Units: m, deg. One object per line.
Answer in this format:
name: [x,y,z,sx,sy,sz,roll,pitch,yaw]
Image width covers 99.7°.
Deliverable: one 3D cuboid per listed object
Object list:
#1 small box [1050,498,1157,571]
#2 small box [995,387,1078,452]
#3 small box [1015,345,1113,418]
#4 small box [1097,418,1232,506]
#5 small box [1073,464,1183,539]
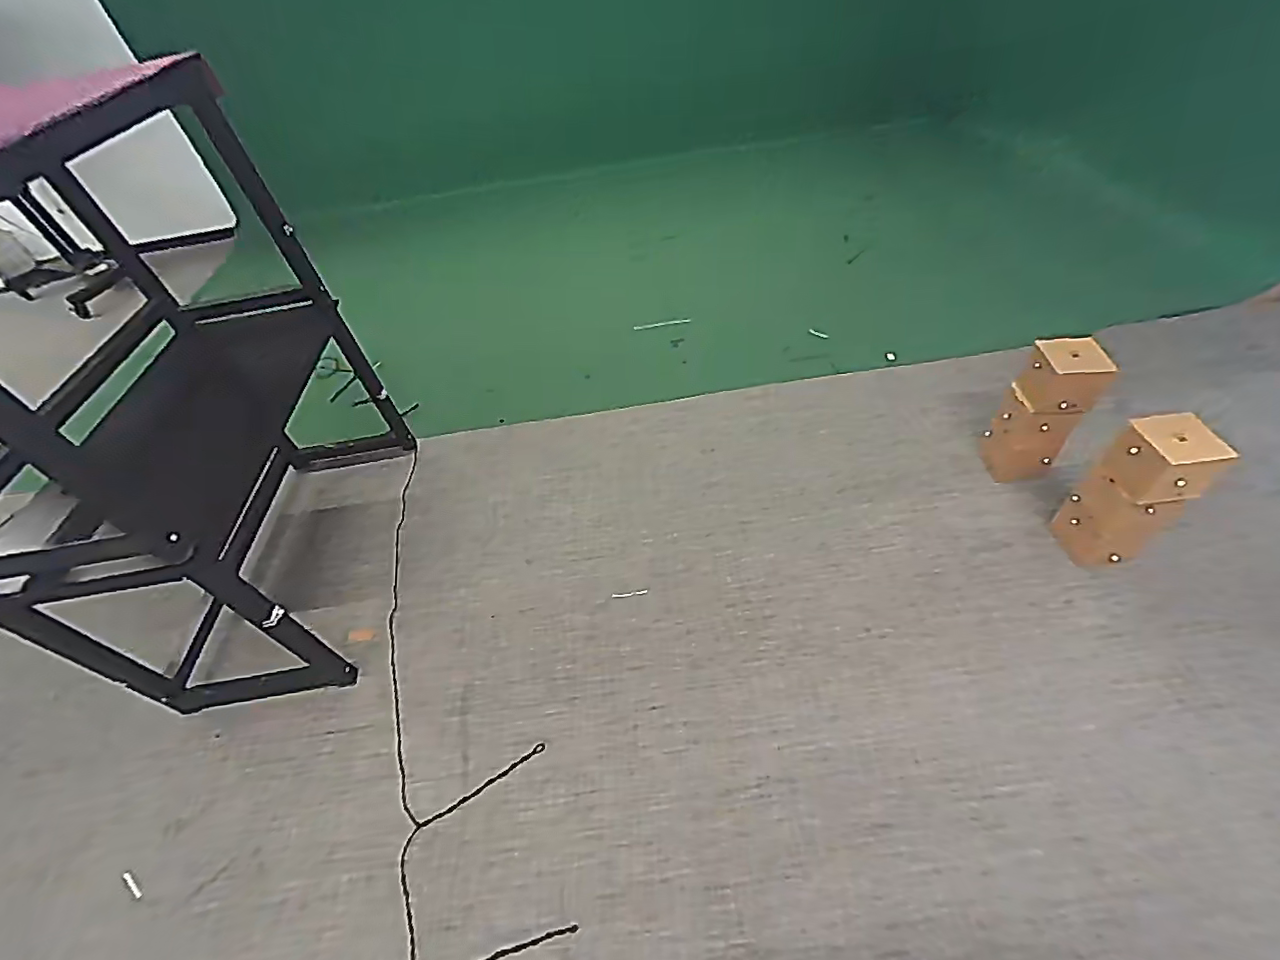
small box: [1.466,0.168,1.728,0.168,0.176,0.179,-8,47,3]
small box: [1.370,-0.212,1.877,0.179,0.176,0.168,-5,48,7]
small box: [1.359,-0.318,1.750,0.168,0.176,0.179,-1,47,9]
small box: [1.425,-0.044,1.485,0.168,0.176,0.179,-7,47,3]
small box: [1.442,0.060,1.608,0.179,0.176,0.168,-6,47,3]
